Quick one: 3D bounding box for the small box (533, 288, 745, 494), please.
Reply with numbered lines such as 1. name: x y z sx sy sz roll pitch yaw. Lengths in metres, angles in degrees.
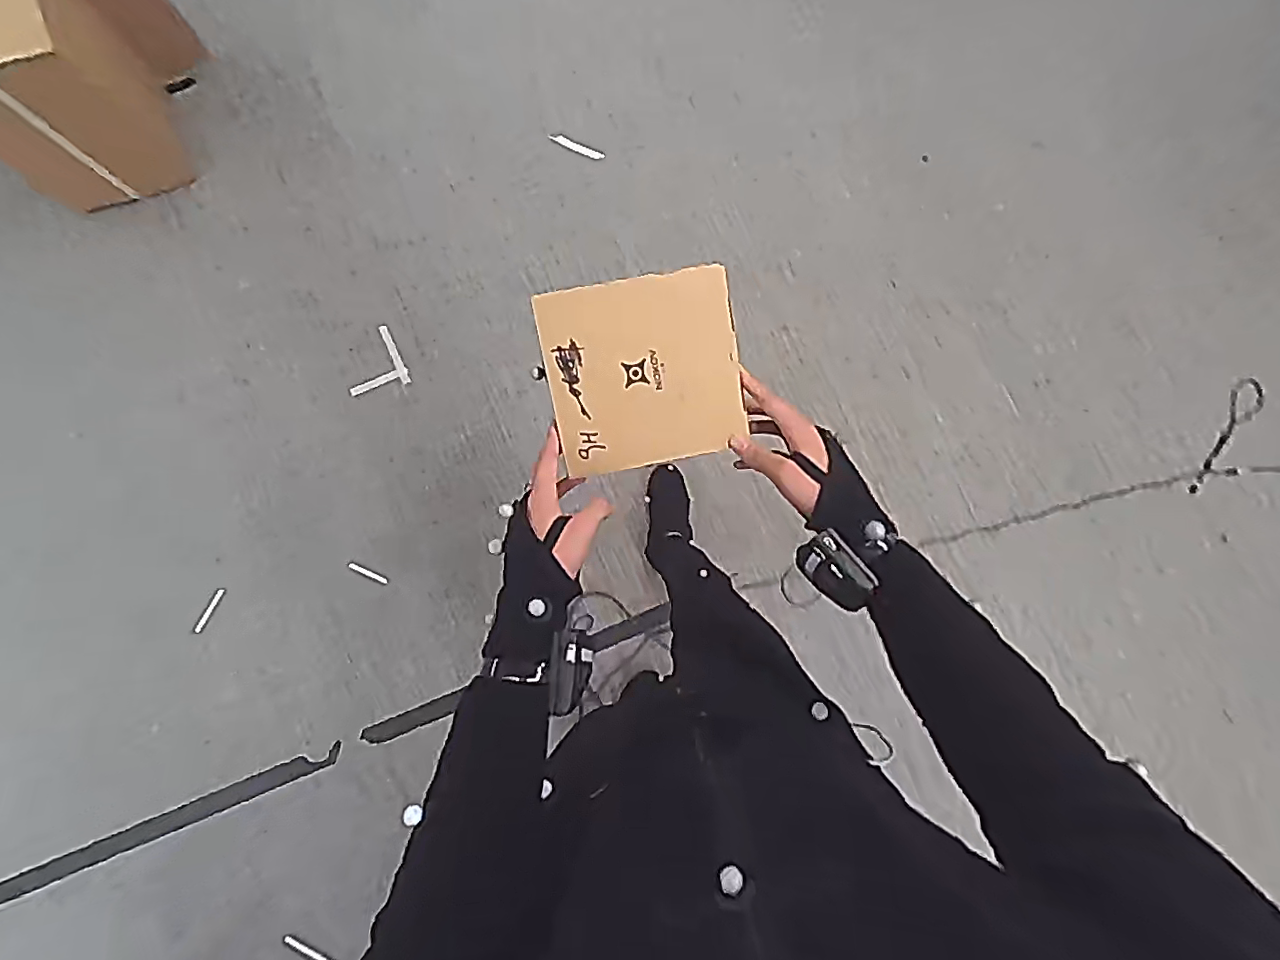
1. small box: -0.007 -0.093 0.572 0.179 0.176 0.168 -12 99 -4
